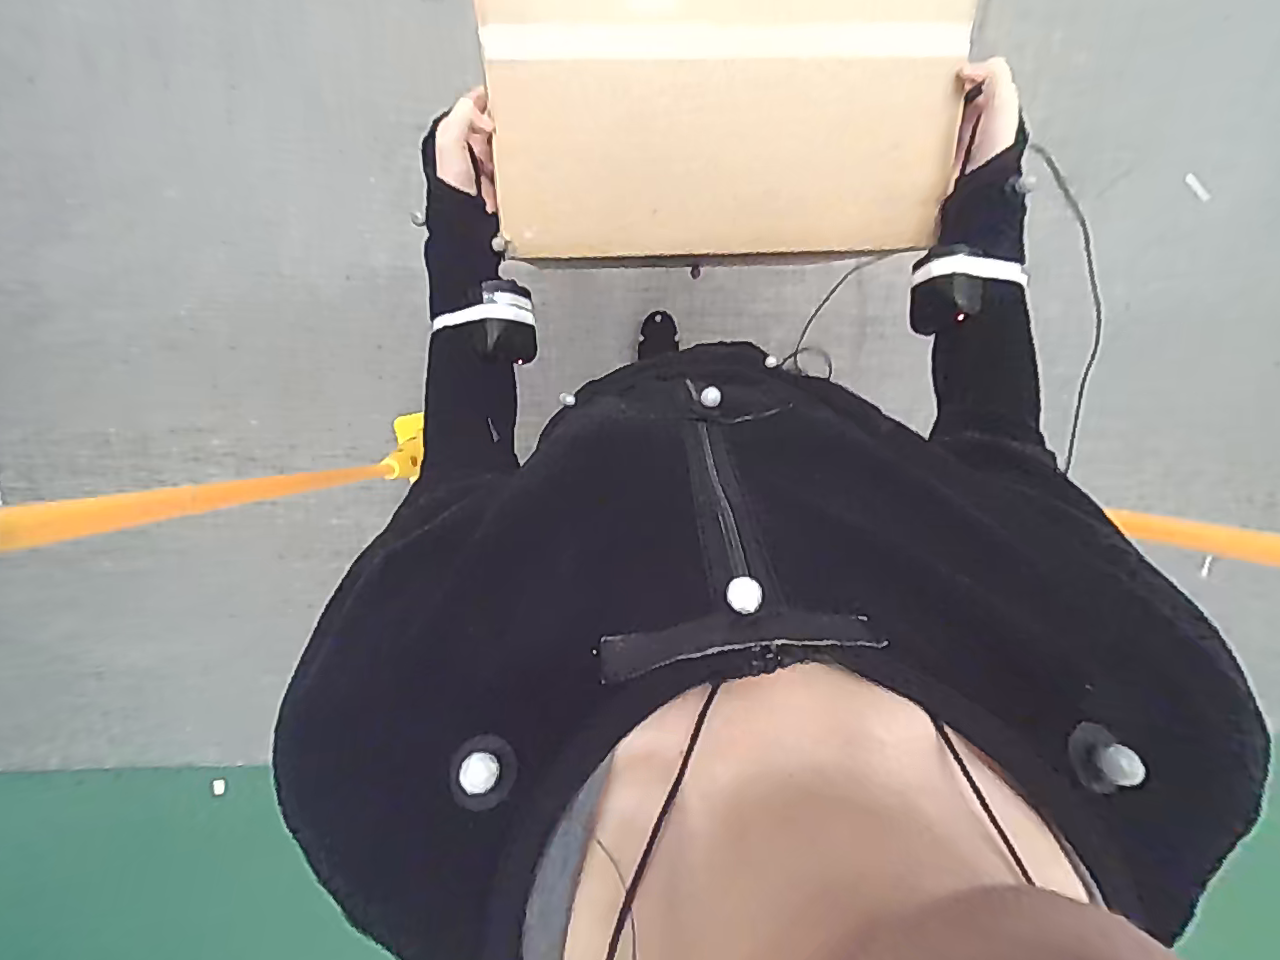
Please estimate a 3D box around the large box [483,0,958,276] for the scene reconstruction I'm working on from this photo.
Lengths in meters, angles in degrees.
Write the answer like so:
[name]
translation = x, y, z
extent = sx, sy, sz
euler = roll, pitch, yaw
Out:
[large box]
translation = 0.065, -0.404, 0.601
extent = 0.408, 0.320, 0.320
euler = -3, 108, -3
